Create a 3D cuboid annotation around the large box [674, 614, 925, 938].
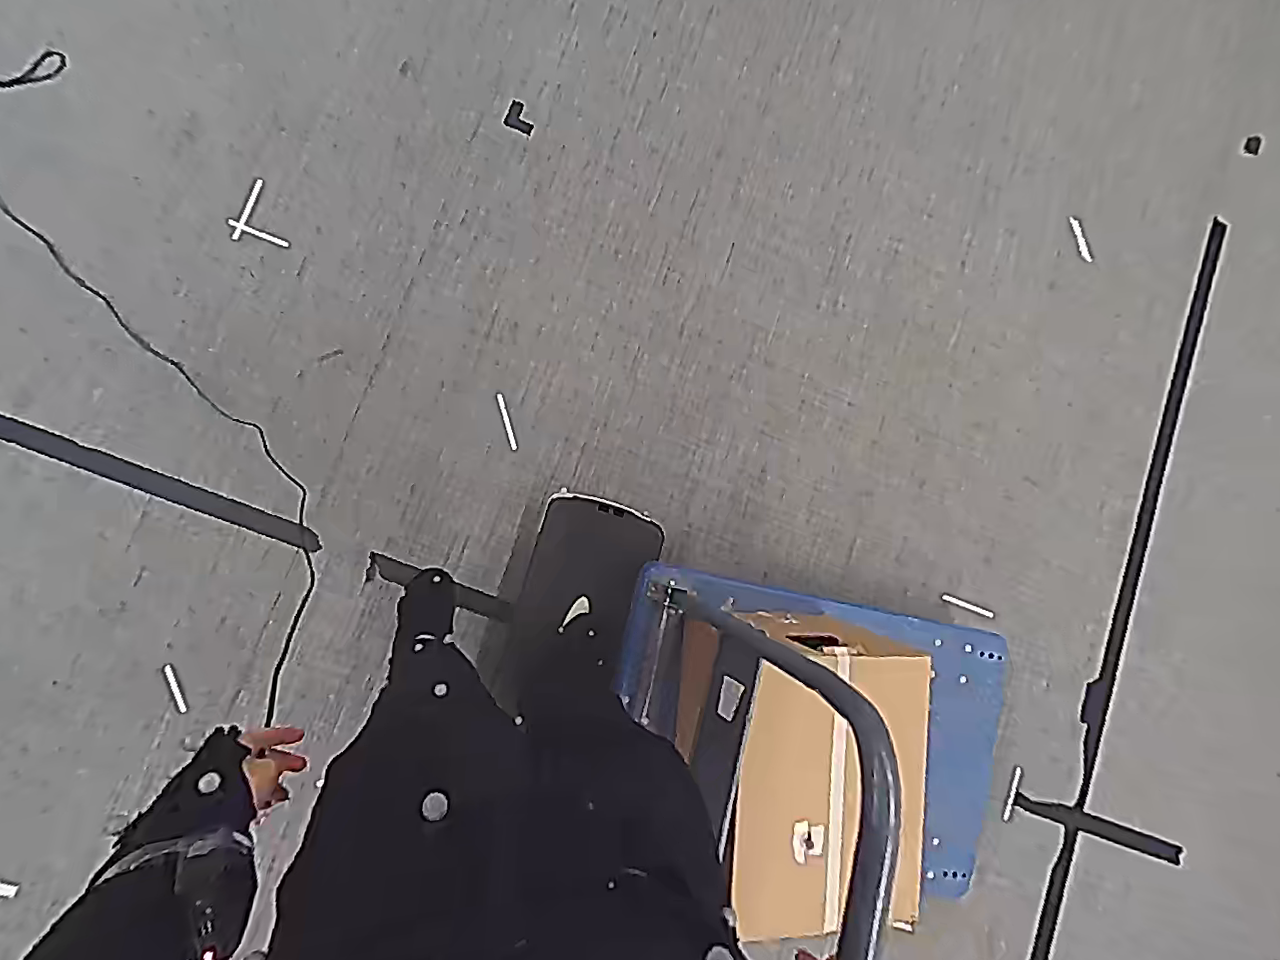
[{"bbox_3d":[0.255,0.466,0.952,0.320,0.320,0.408,5,88,-12],"label":"large box"}]
